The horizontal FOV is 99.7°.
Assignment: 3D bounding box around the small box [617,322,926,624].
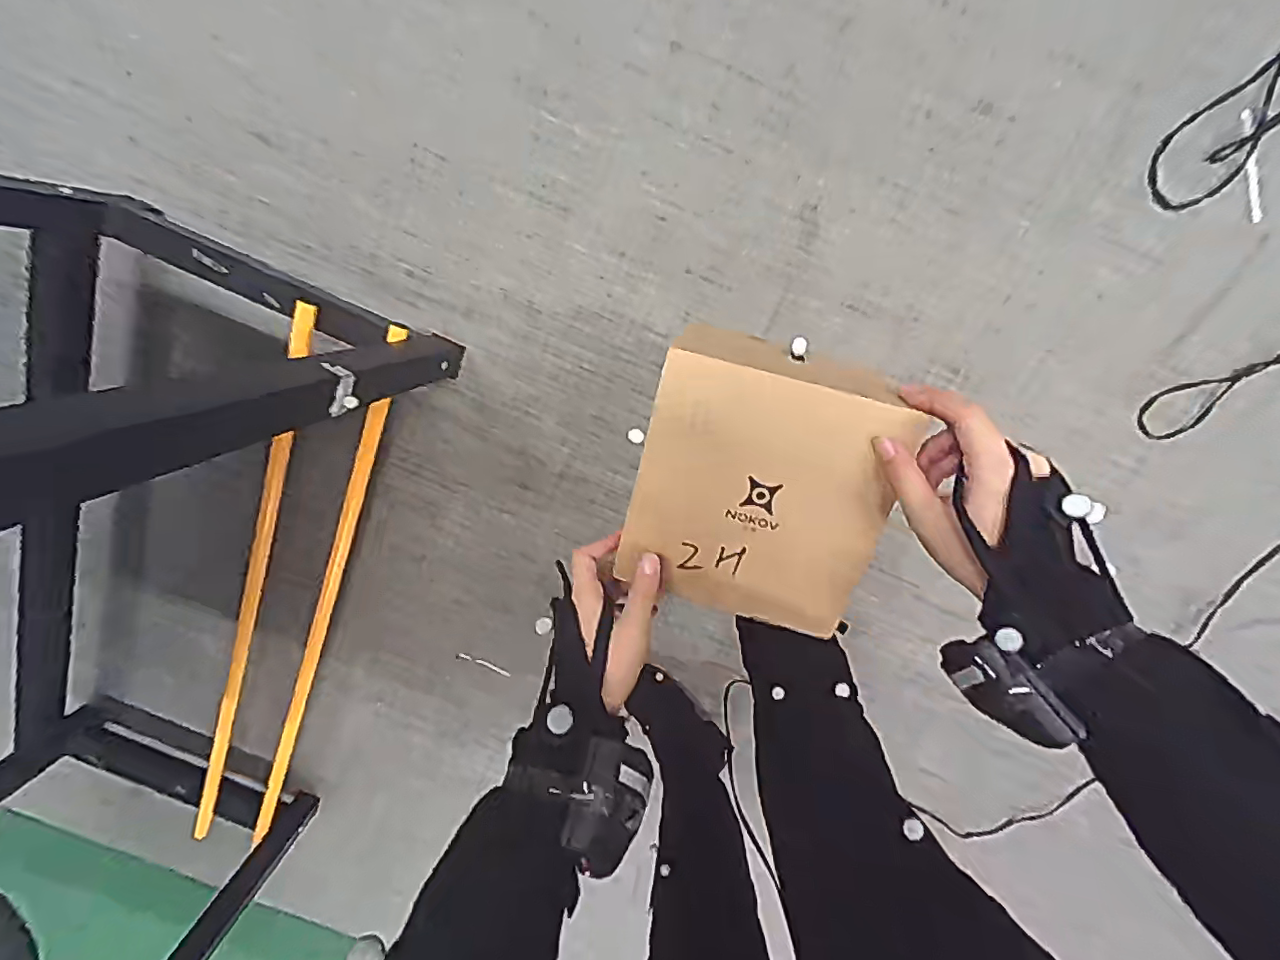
[{"bbox_3d":[0.091,-0.021,0.440,0.168,0.176,0.179,16,113,4],"label":"small box"}]
